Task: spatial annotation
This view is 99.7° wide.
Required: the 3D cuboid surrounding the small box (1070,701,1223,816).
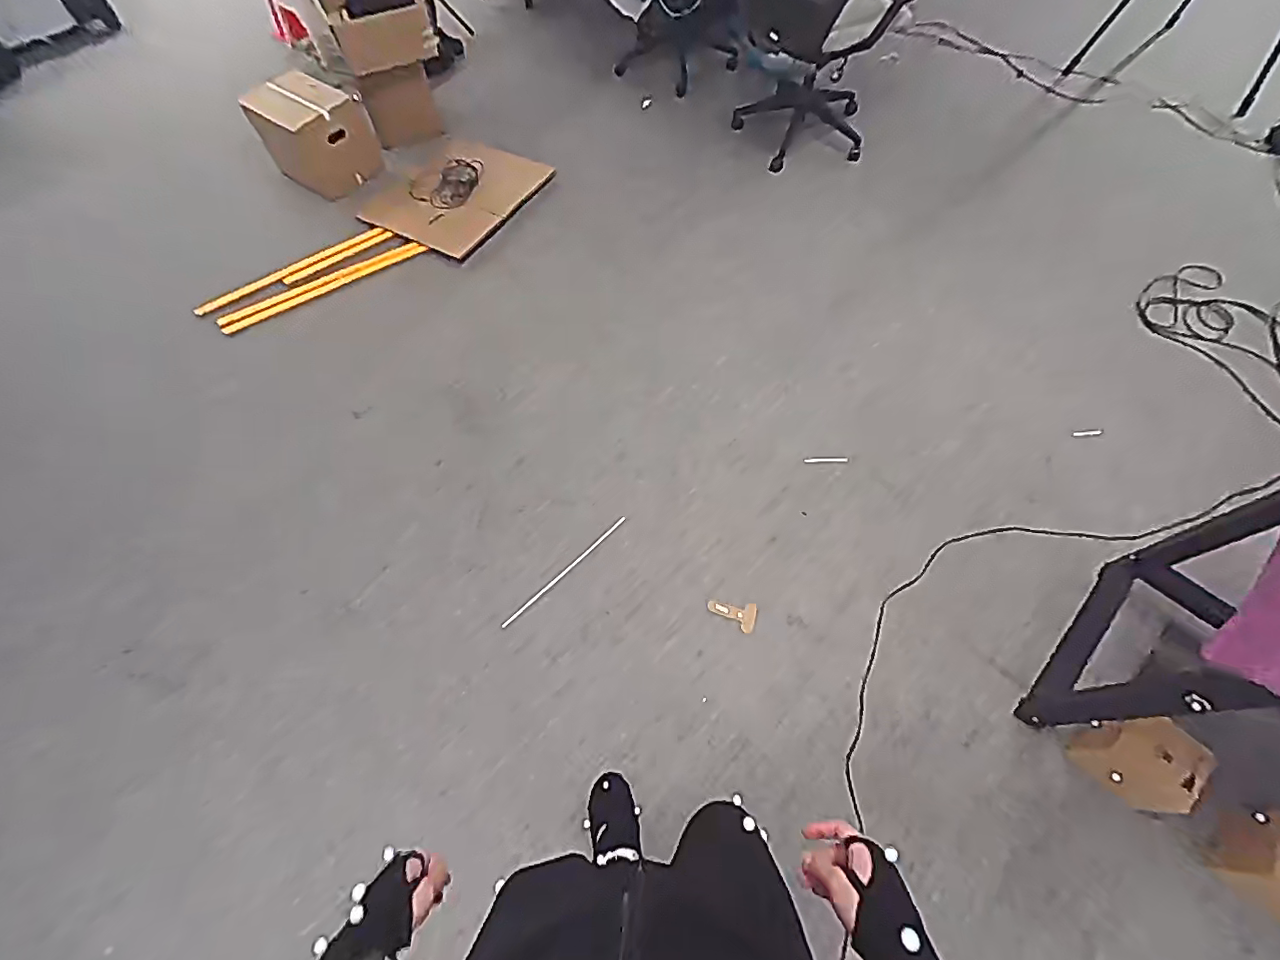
[{"bbox_3d":[1.187,0.660,1.283,0.168,0.176,0.179,-38,68,-17],"label":"small box"}]
